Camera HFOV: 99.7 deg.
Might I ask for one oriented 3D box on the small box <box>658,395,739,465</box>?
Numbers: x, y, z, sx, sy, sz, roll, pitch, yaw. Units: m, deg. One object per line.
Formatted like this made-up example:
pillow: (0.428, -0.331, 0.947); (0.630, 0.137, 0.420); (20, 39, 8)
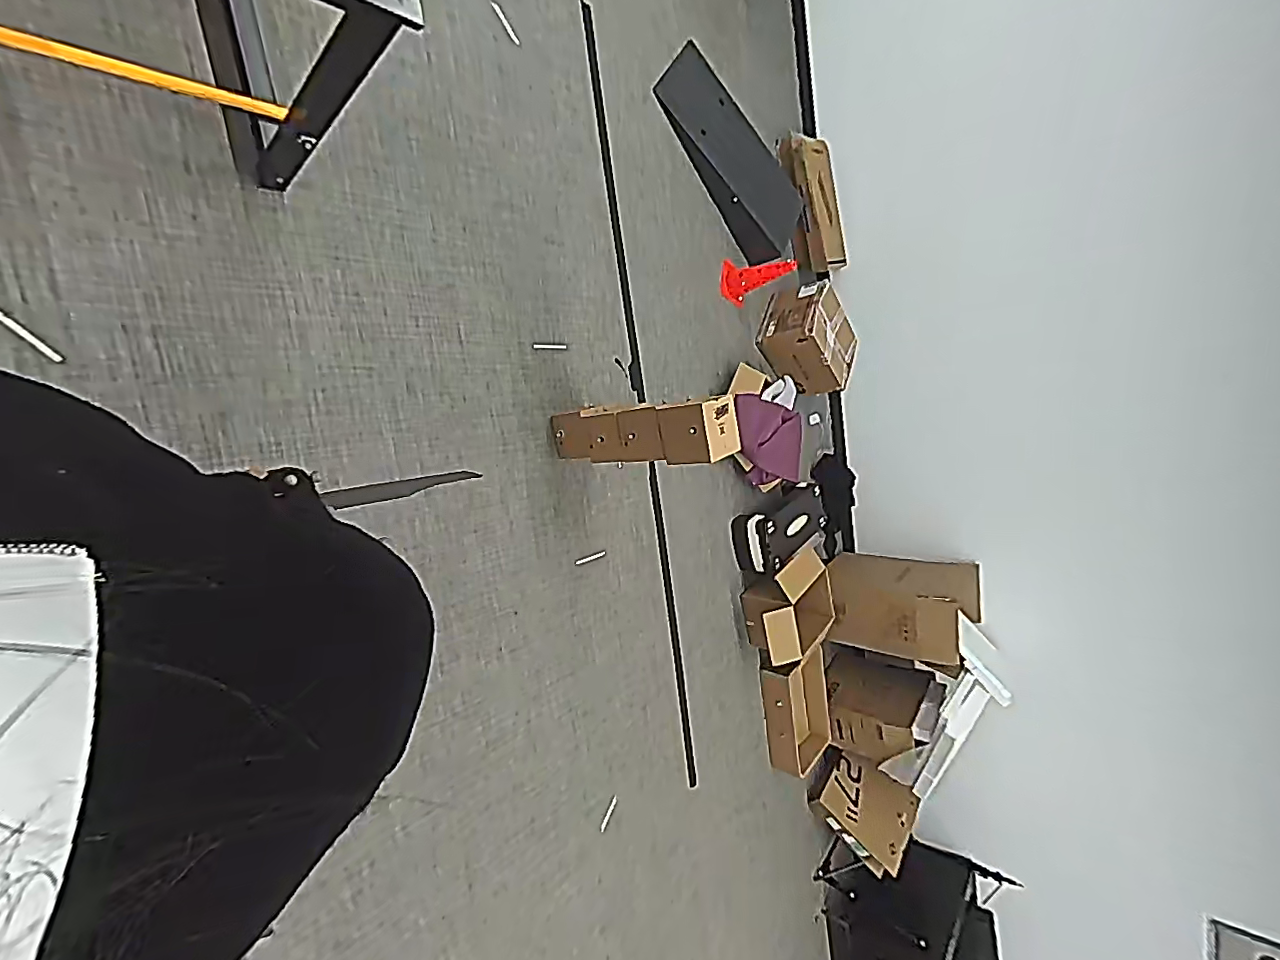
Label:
small box: (0.172, -0.149, 1.625); (0.168, 0.176, 0.179); (-23, 106, -45)

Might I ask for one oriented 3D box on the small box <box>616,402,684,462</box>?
small box: (0.049, -0.155, 1.734); (0.179, 0.176, 0.168); (-18, 101, -46)

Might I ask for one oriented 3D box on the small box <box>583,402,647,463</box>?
small box: (-0.076, -0.159, 1.843); (0.179, 0.176, 0.168); (-24, 106, -44)

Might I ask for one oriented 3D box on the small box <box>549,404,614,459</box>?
small box: (-0.198, -0.175, 1.952); (0.179, 0.176, 0.168); (-23, 105, -44)
